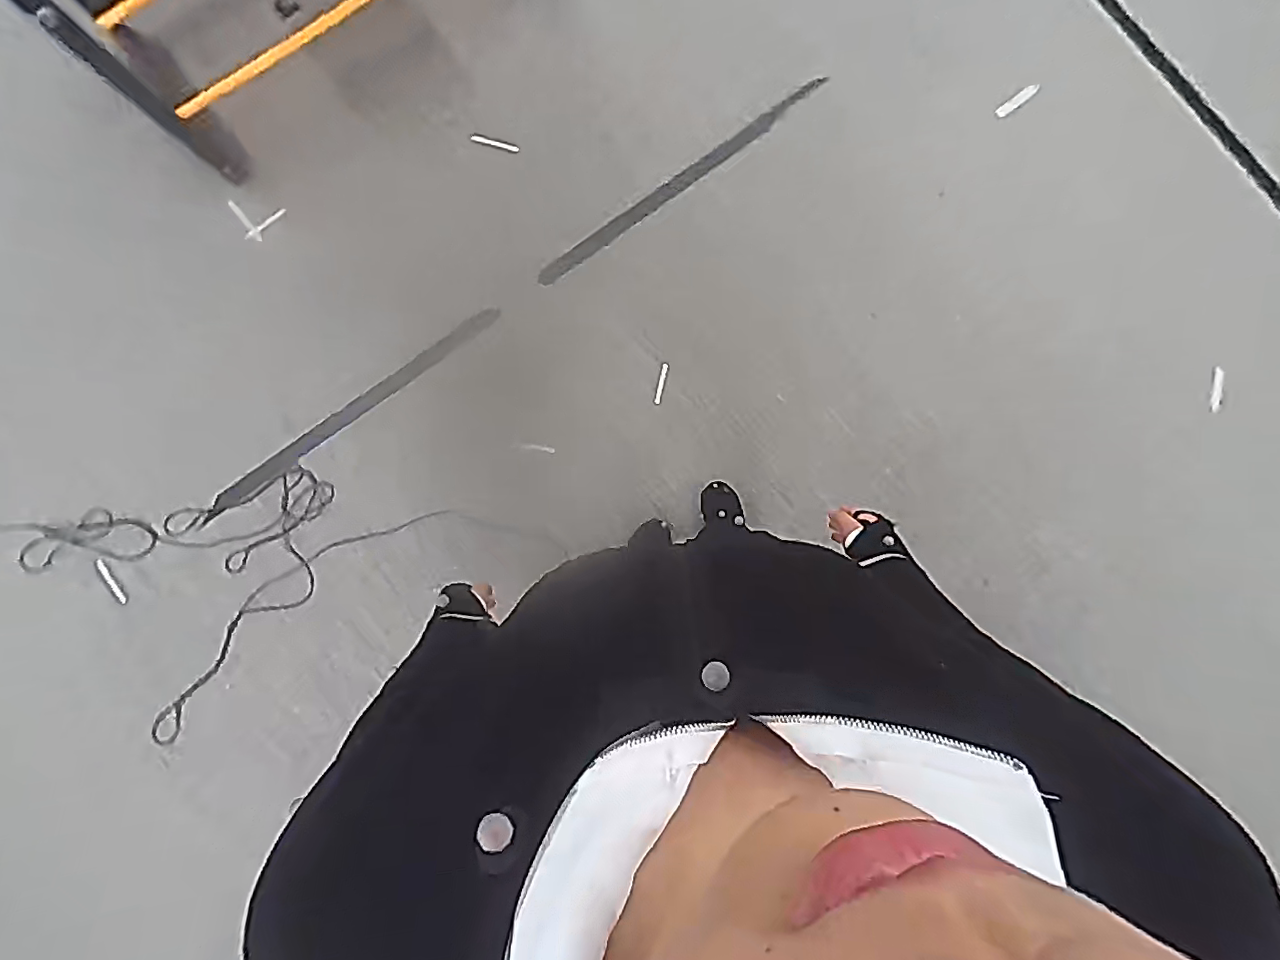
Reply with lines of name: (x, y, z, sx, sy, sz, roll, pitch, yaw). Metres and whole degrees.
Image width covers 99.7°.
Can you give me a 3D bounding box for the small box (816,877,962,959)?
small box: (0.384, 0.723, 0.760, 0.168, 0.176, 0.179, -36, 85, -5)
